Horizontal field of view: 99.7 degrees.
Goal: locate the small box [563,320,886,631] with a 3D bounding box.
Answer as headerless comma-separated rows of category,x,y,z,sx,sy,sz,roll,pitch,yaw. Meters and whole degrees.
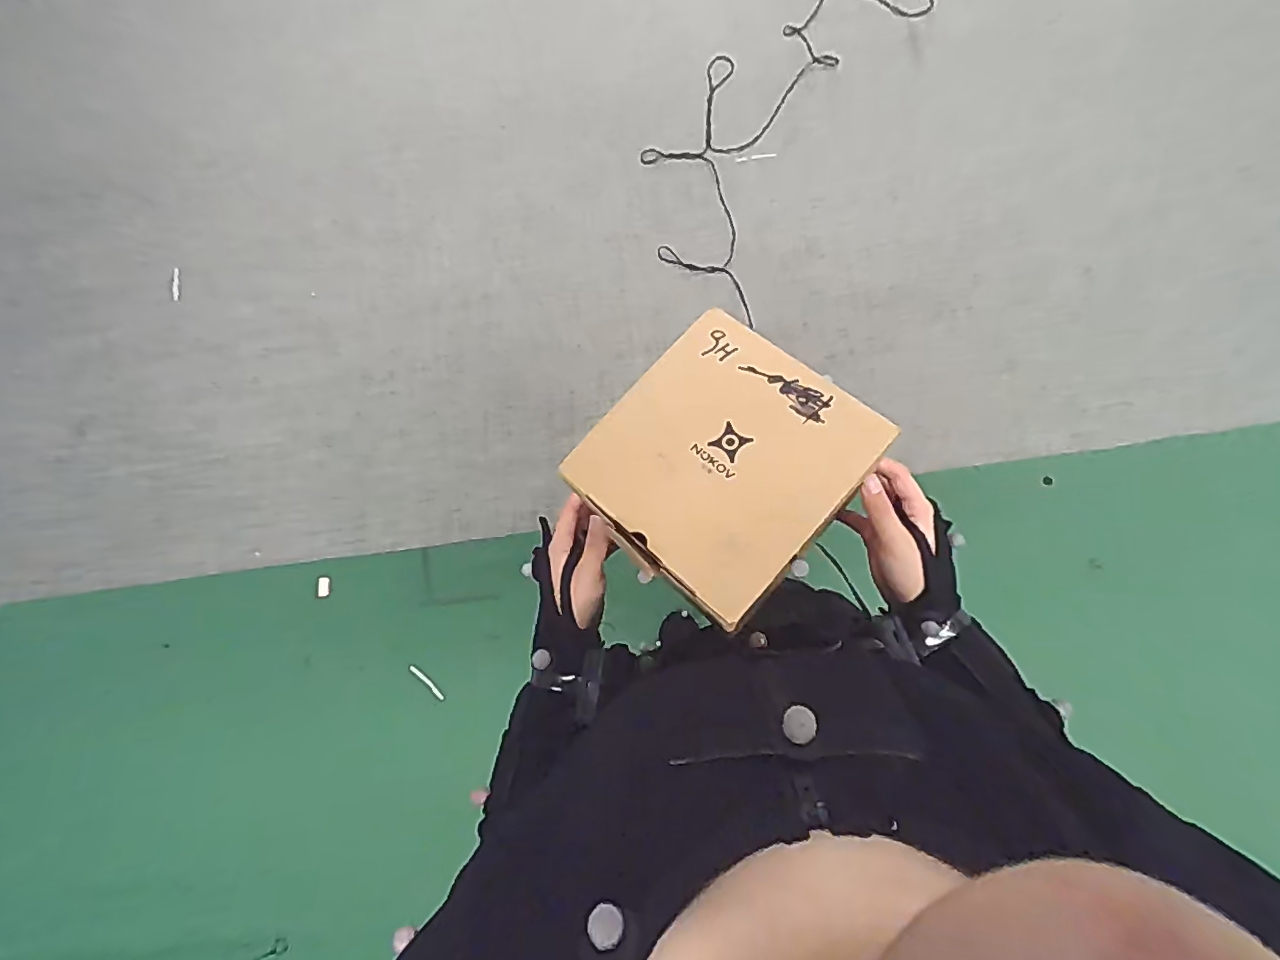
small box,0.071,0.010,0.459,0.168,0.176,0.179,40,83,20
